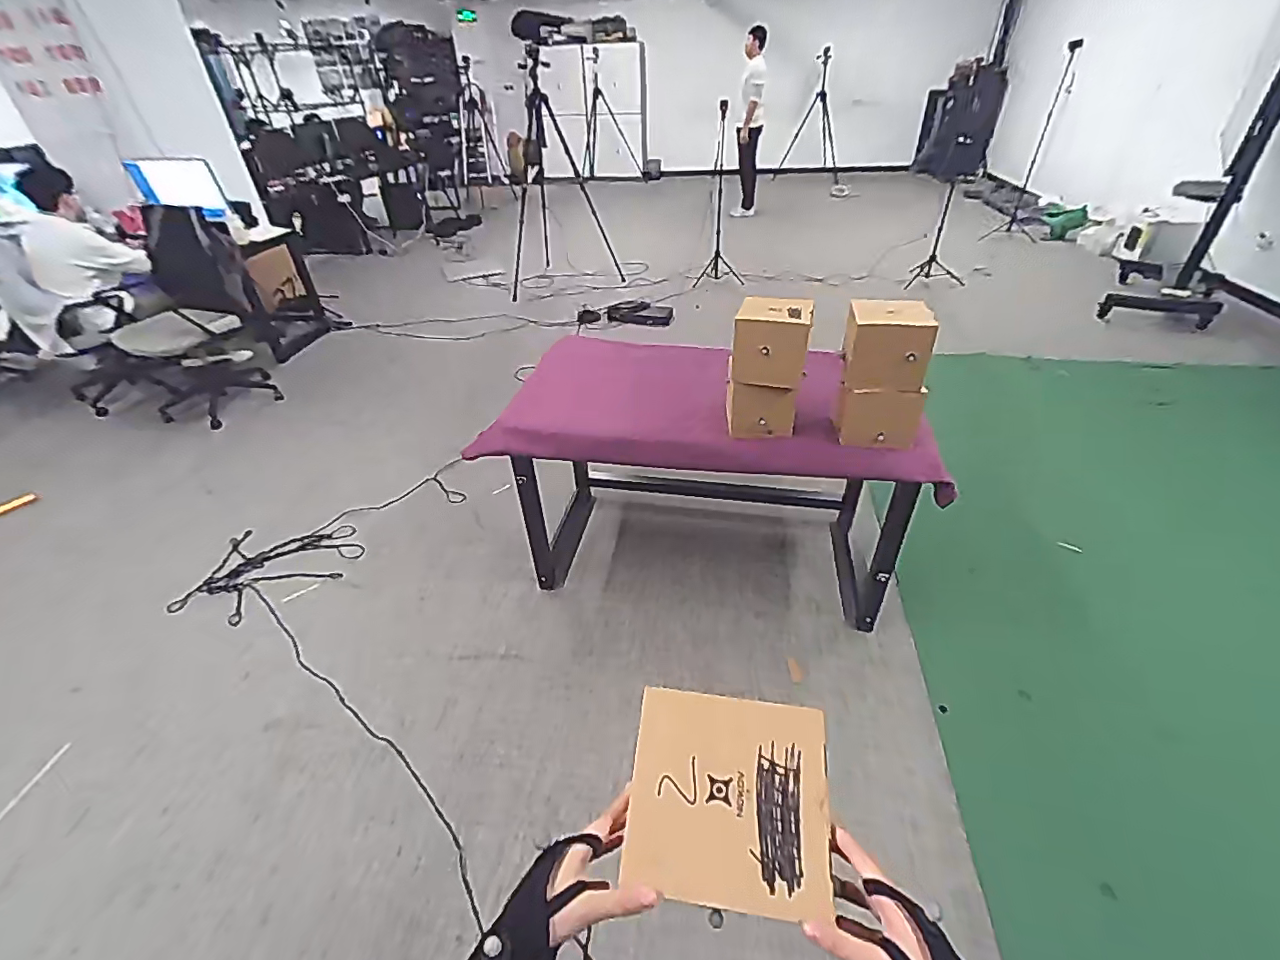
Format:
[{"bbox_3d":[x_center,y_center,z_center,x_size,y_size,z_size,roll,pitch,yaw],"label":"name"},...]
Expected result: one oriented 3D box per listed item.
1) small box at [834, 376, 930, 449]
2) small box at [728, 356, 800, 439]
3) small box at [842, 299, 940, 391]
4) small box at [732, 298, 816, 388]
[{"bbox_3d":[0.619,-0.193,1.408,0.179,0.176,0.168,2,37,7],"label":"small box"},{"bbox_3d":[0.332,-0.228,1.478,0.168,0.176,0.179,0,37,5],"label":"small box"},{"bbox_3d":[0.601,-0.329,1.317,0.179,0.176,0.168,5,38,12],"label":"small box"},{"bbox_3d":[0.336,-0.345,1.358,0.179,0.176,0.168,9,37,17],"label":"small box"}]
